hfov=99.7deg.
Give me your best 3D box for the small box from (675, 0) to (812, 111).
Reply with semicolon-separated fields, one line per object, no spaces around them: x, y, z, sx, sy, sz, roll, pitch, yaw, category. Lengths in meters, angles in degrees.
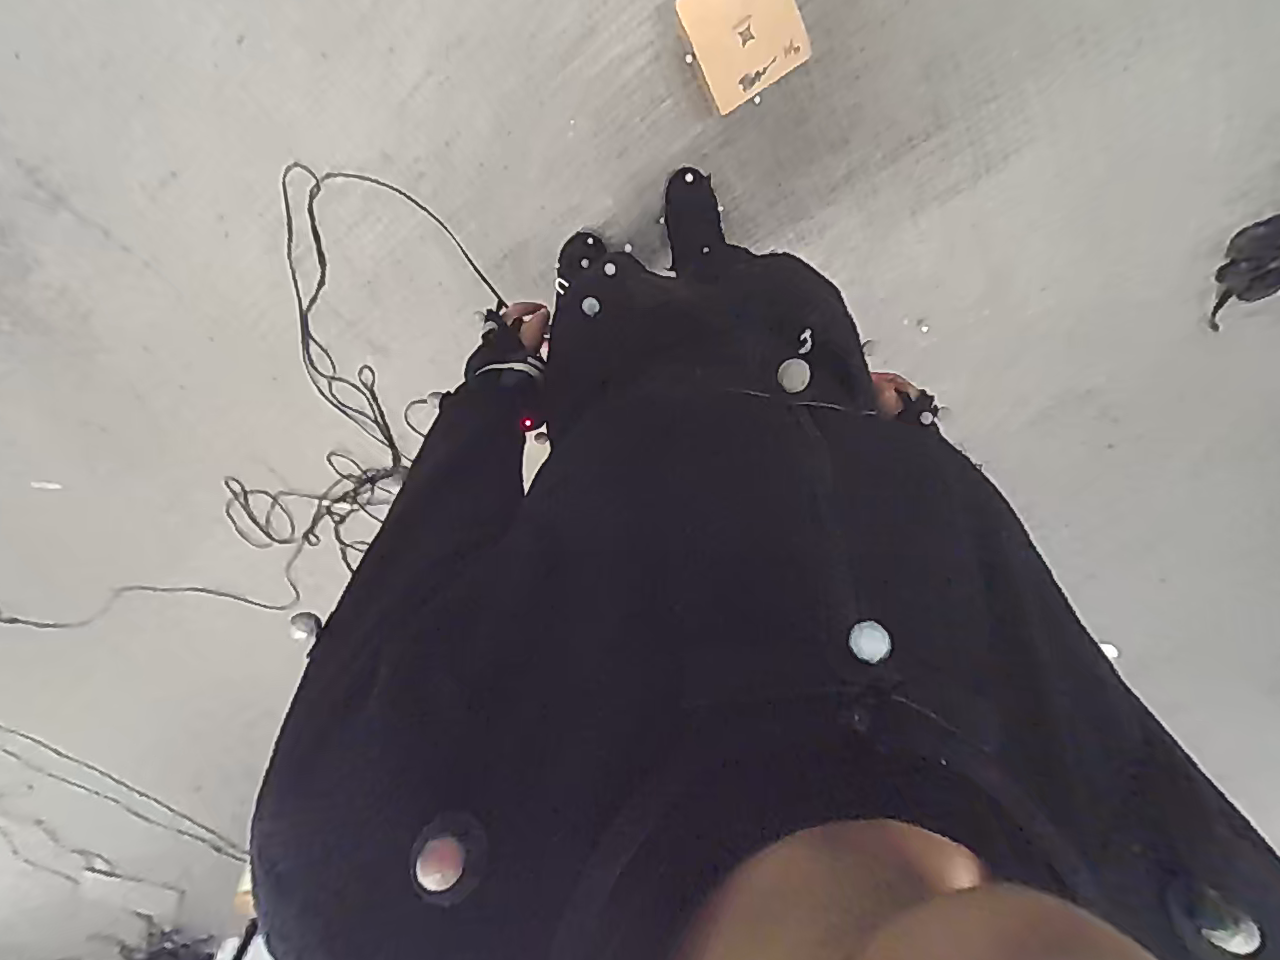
0.166;-0.761;0.918;0.168;0.176;0.179;-25;119;18;small box
